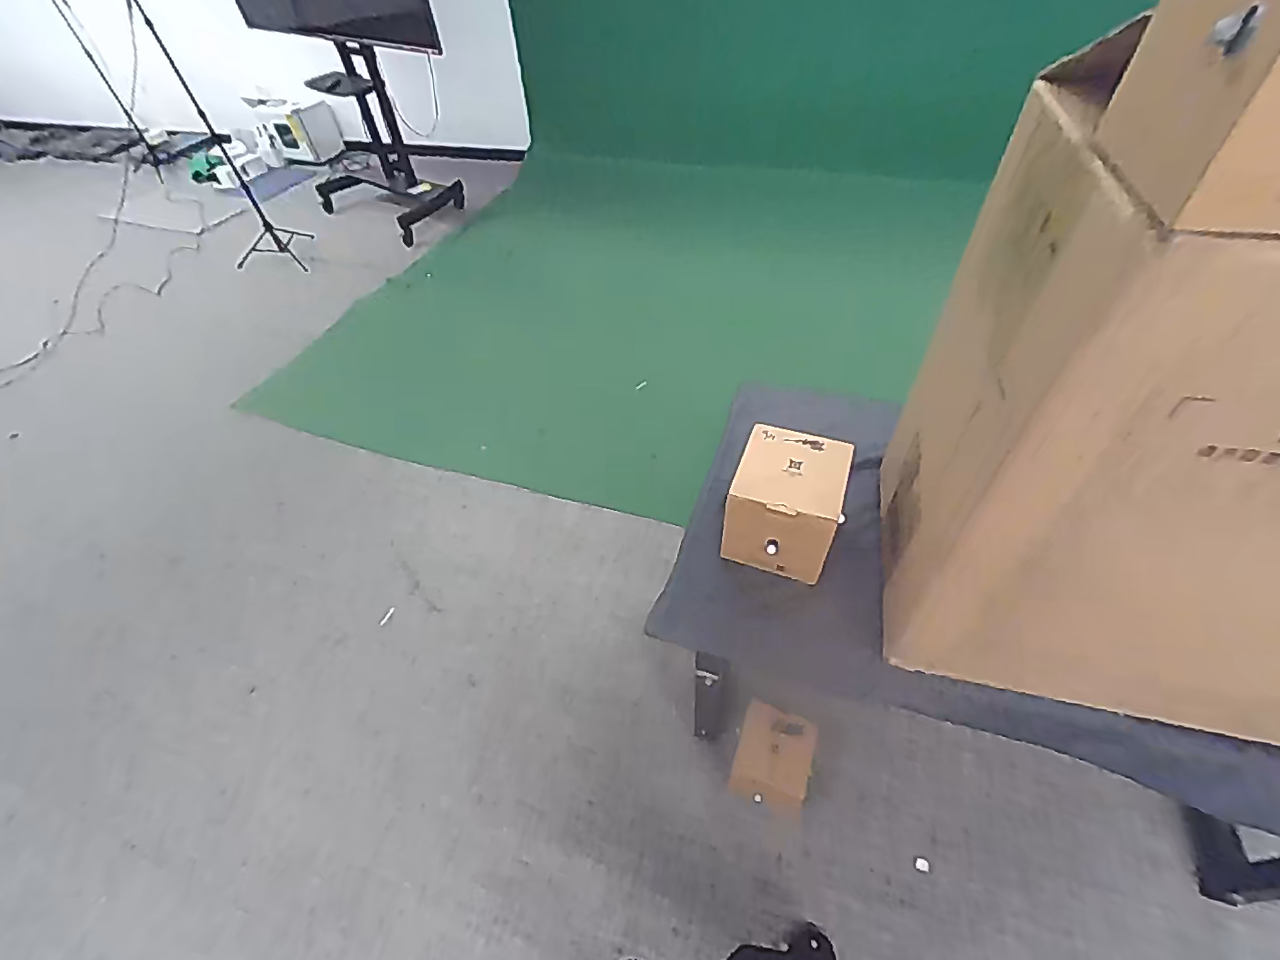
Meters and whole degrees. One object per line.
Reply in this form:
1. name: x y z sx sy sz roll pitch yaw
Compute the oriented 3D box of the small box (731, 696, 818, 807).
1. small box: 0.326 0.669 1.330 0.168 0.176 0.179 14 53 18
